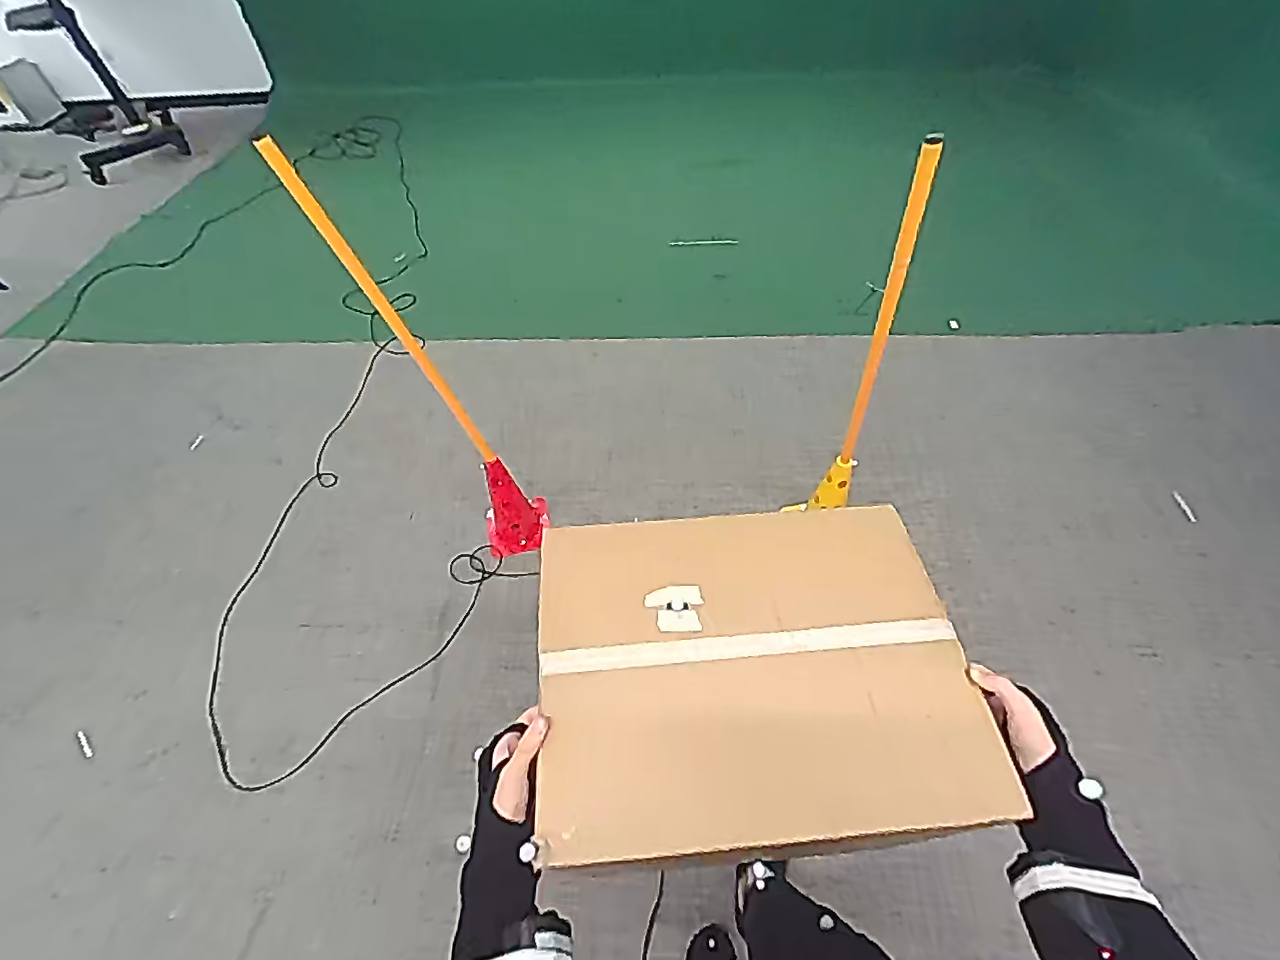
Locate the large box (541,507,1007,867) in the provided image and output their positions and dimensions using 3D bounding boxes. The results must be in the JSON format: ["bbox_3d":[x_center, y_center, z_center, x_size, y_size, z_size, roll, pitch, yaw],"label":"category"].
[{"bbox_3d":[0.106,0.258,0.655,0.408,0.320,0.320,-5,52,-2],"label":"large box"}]
